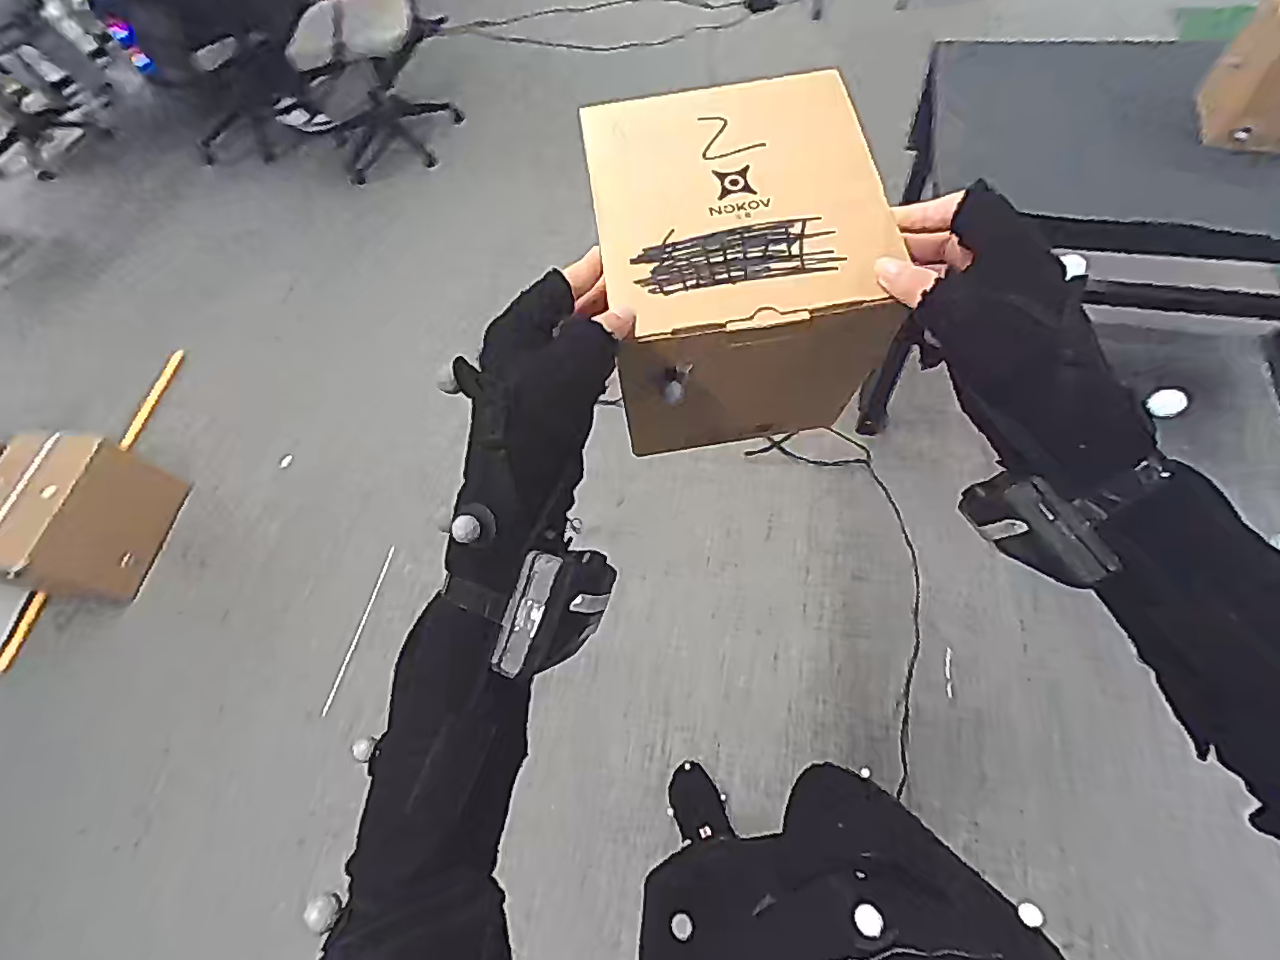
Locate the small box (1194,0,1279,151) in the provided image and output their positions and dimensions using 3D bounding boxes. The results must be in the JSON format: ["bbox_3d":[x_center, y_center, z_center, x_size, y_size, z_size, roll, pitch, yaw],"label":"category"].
[{"bbox_3d":[1.095,-0.681,0.907,0.168,0.176,0.179,13,63,15],"label":"small box"}]
